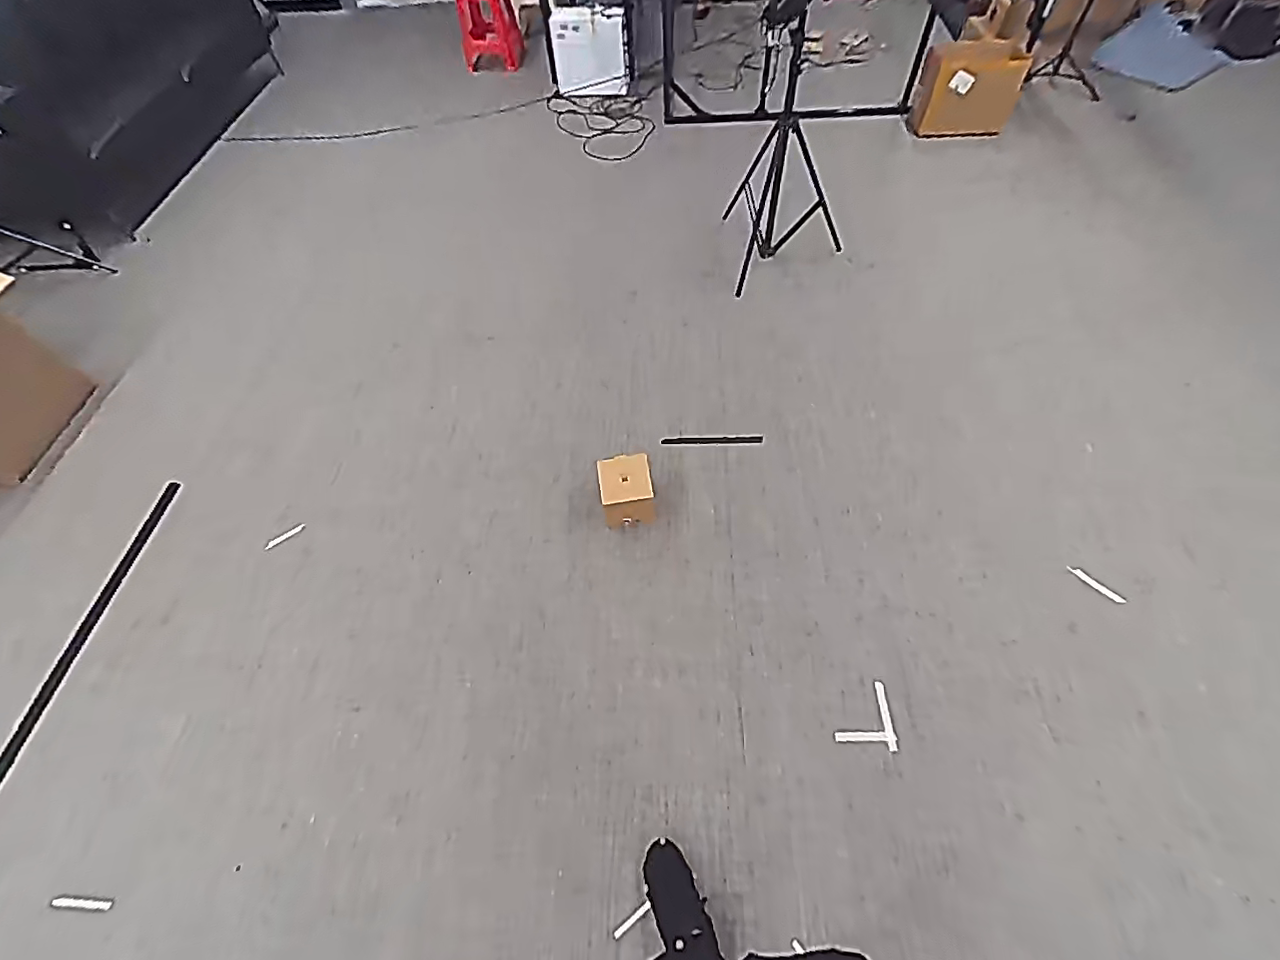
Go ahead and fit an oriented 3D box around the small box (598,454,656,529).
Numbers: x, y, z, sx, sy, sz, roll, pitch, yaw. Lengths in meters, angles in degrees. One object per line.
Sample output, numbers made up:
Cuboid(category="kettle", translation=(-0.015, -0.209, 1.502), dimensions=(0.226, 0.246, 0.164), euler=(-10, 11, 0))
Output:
Cuboid(category="small box", translation=(-0.042, 0.041, 1.788), dimensions=(0.168, 0.176, 0.179), euler=(-9, 57, -1))
